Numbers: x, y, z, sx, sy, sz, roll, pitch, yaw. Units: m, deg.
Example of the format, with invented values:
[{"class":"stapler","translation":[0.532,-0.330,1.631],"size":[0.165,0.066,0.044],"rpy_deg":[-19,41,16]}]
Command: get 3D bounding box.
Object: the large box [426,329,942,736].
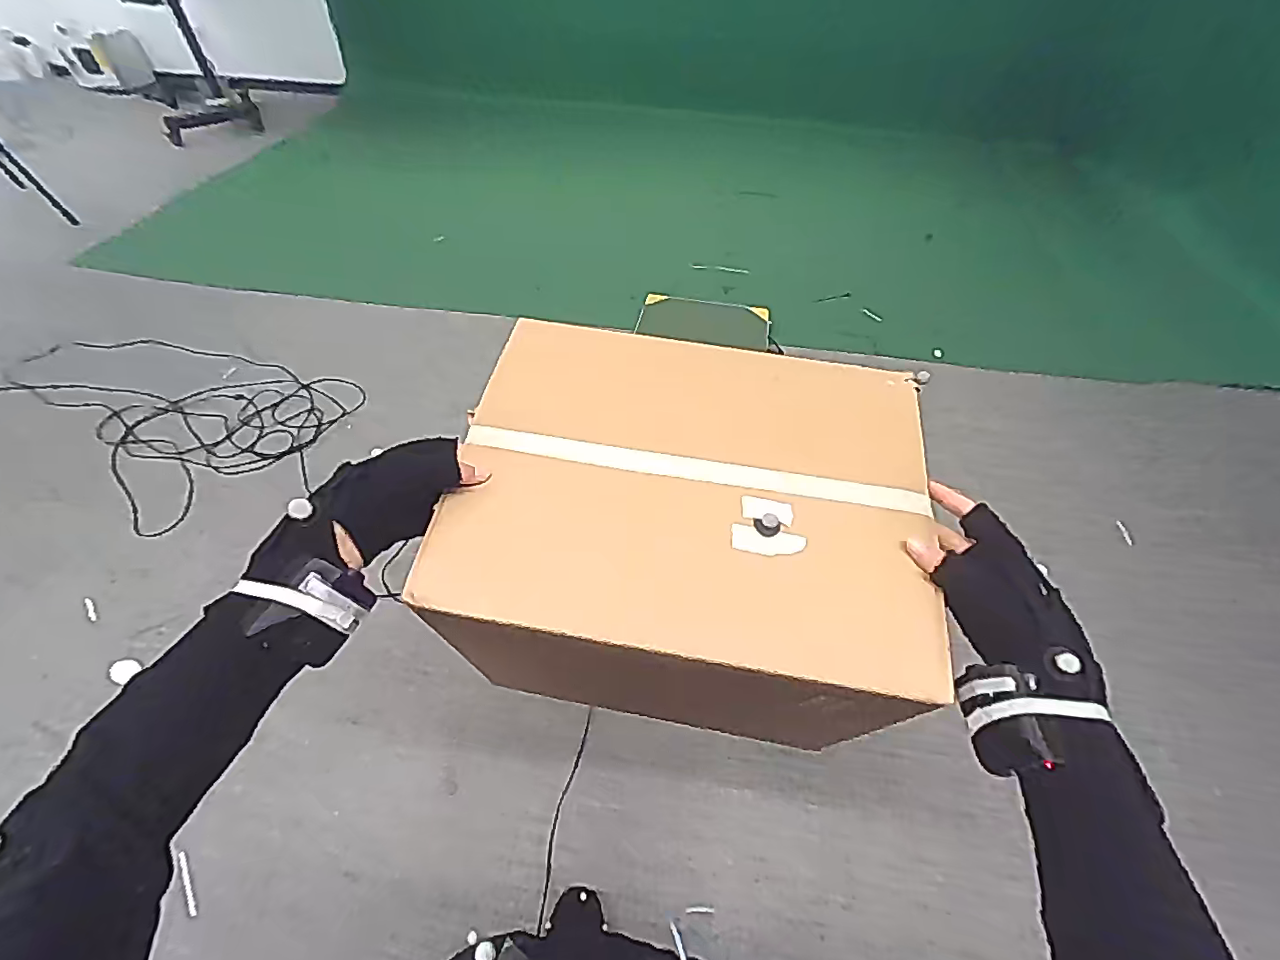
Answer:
[{"class":"large box","translation":[0.044,0.073,0.610],"size":[0.408,0.320,0.320],"rpy_deg":[9,59,3]}]
